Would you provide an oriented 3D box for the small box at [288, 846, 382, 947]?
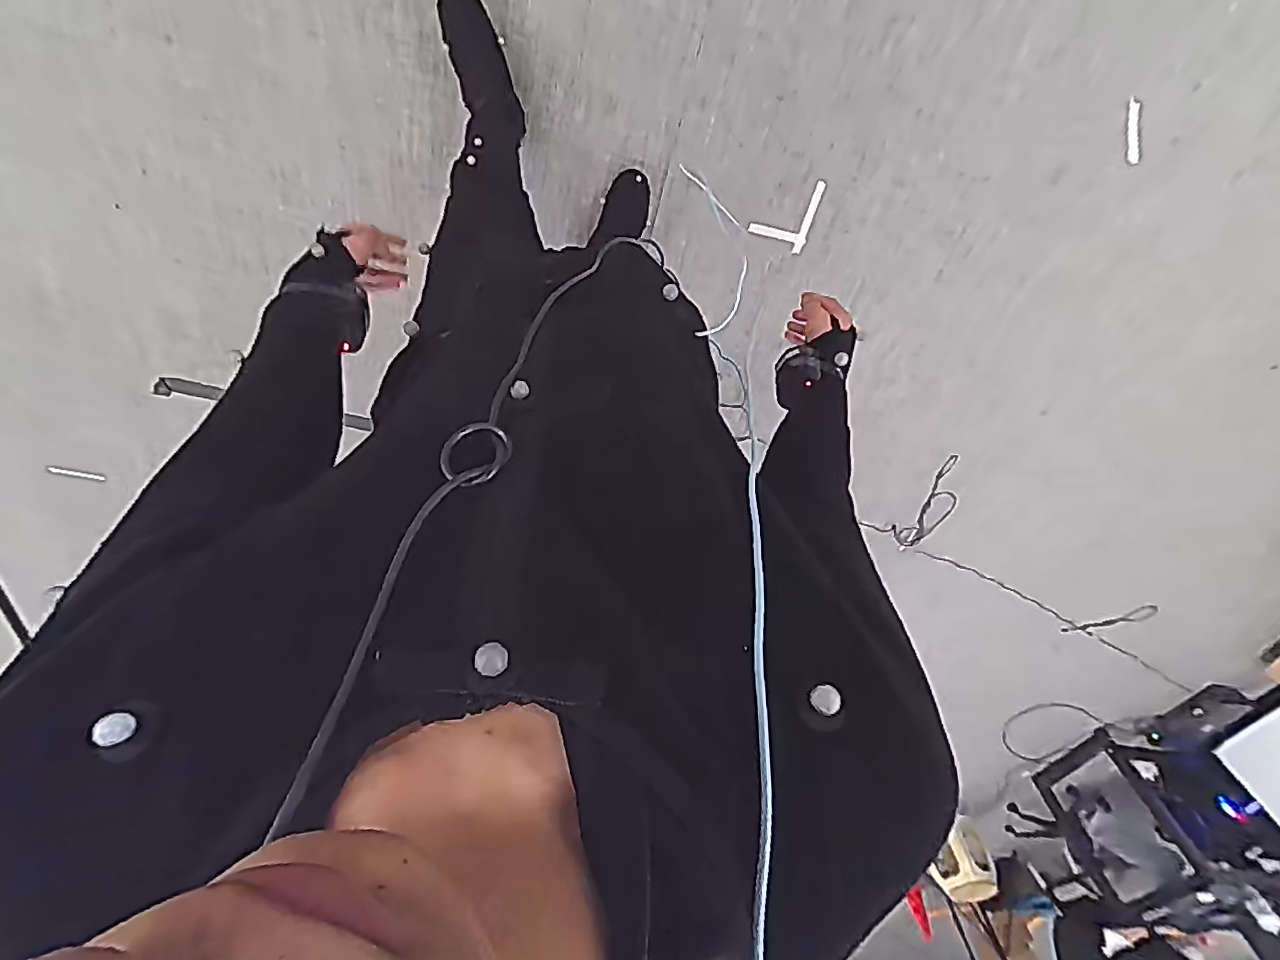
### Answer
[{"bbox_3d":[-0.789,1.089,1.414,0.168,0.176,0.179,11,125,-12],"label":"small box"}]
